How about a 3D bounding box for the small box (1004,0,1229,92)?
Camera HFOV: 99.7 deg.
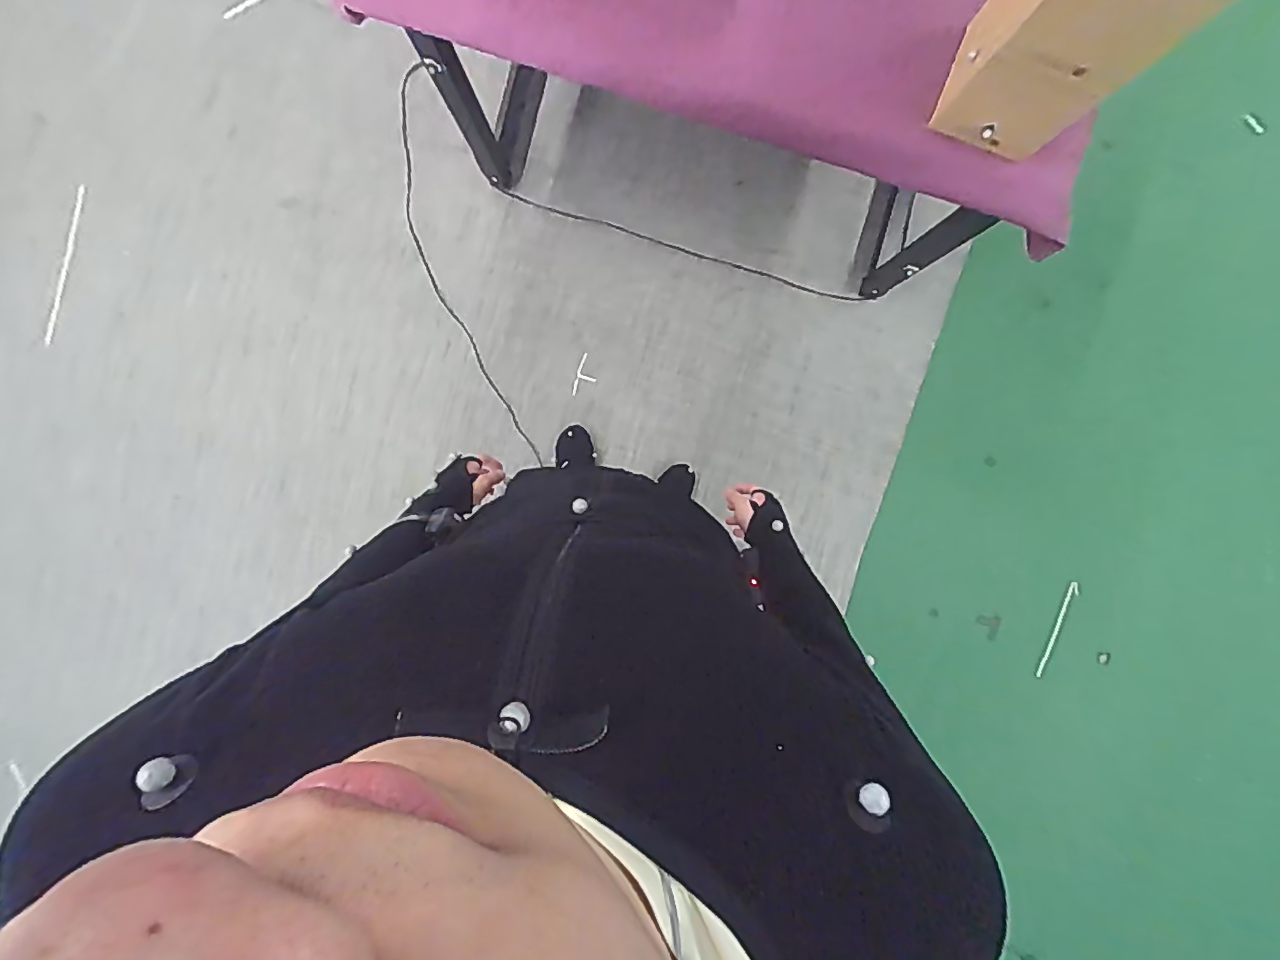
[{"bbox_3d":[0.572,-0.612,0.627,0.168,0.176,0.179,21,92,-1],"label":"small box"}]
